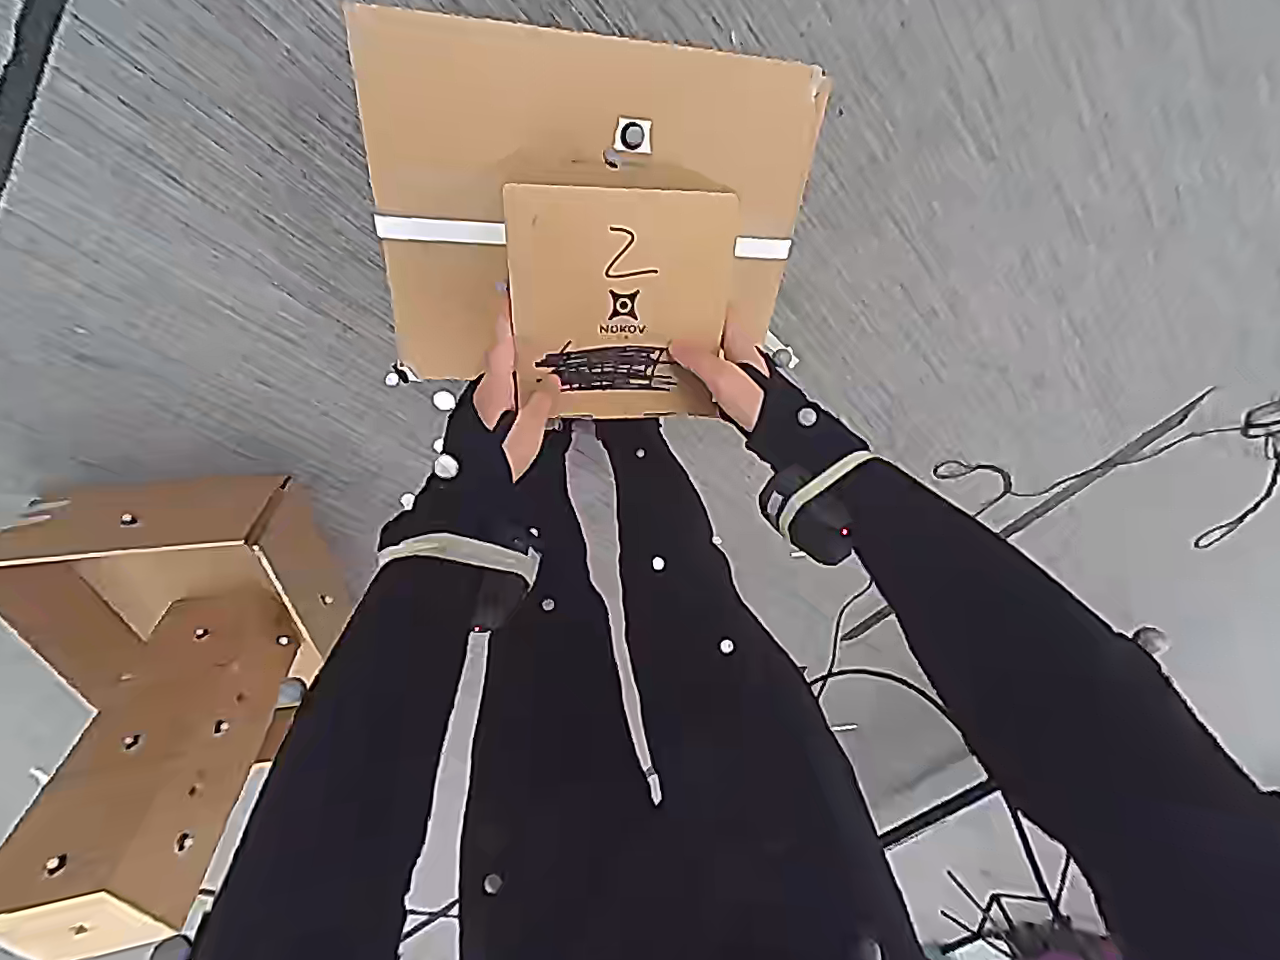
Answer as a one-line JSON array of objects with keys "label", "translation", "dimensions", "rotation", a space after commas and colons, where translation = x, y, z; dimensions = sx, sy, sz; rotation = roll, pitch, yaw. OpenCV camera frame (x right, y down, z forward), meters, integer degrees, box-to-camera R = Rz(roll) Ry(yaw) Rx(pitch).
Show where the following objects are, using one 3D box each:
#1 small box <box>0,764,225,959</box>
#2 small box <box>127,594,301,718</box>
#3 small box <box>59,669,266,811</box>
[{"label": "small box", "translation": [-0.728, 0.526, 0.755], "dimensions": [0.179, 0.176, 0.168], "rotation": [-9, 125, -5]}, {"label": "small box", "translation": [-0.782, 0.337, 1.017], "dimensions": [0.179, 0.176, 0.168], "rotation": [-6, 126, -8]}, {"label": "small box", "translation": [-0.757, 0.435, 0.891], "dimensions": [0.179, 0.176, 0.168], "rotation": [-8, 125, -5]}]
